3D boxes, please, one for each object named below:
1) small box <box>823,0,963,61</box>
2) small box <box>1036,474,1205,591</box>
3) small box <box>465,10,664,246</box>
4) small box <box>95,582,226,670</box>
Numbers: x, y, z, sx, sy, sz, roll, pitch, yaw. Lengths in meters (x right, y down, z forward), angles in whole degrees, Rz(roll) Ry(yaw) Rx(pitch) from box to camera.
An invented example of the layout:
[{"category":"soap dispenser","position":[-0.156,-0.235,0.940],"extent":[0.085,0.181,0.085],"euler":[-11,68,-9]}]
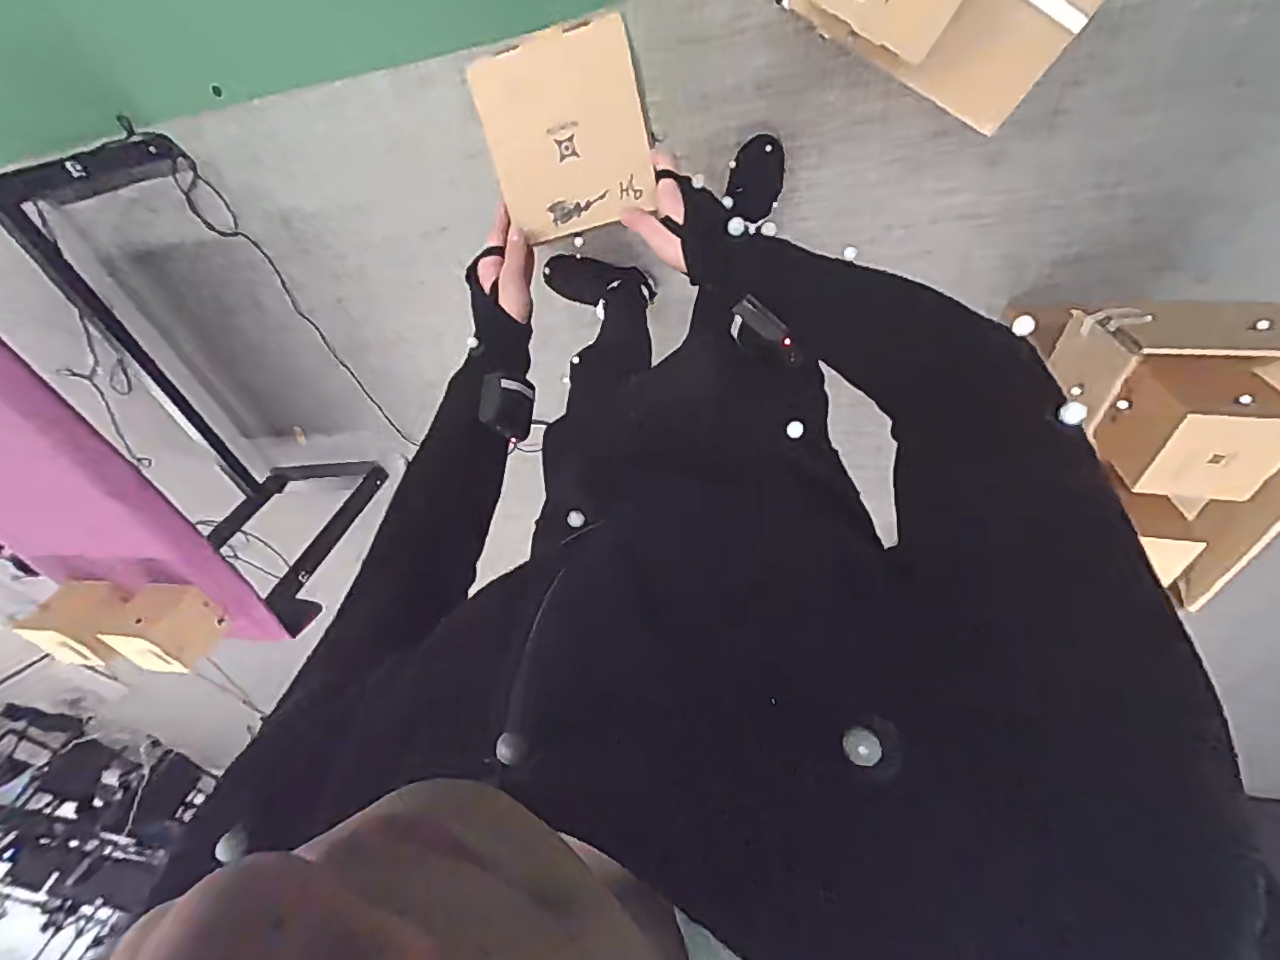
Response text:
[{"category":"small box","position":[0.340,-0.681,0.685],"extent":[0.168,0.176,0.179],"euler":[24,133,-9]},{"category":"small box","position":[0.971,0.104,1.114],"extent":[0.179,0.176,0.168],"euler":[5,132,10]},{"category":"small box","position":[-0.070,-0.380,0.623],"extent":[0.168,0.176,0.179],"euler":[-11,112,10]},{"category":"small box","position":[-1.270,0.390,1.454],"extent":[0.179,0.176,0.168],"euler":[-1,131,15]}]
